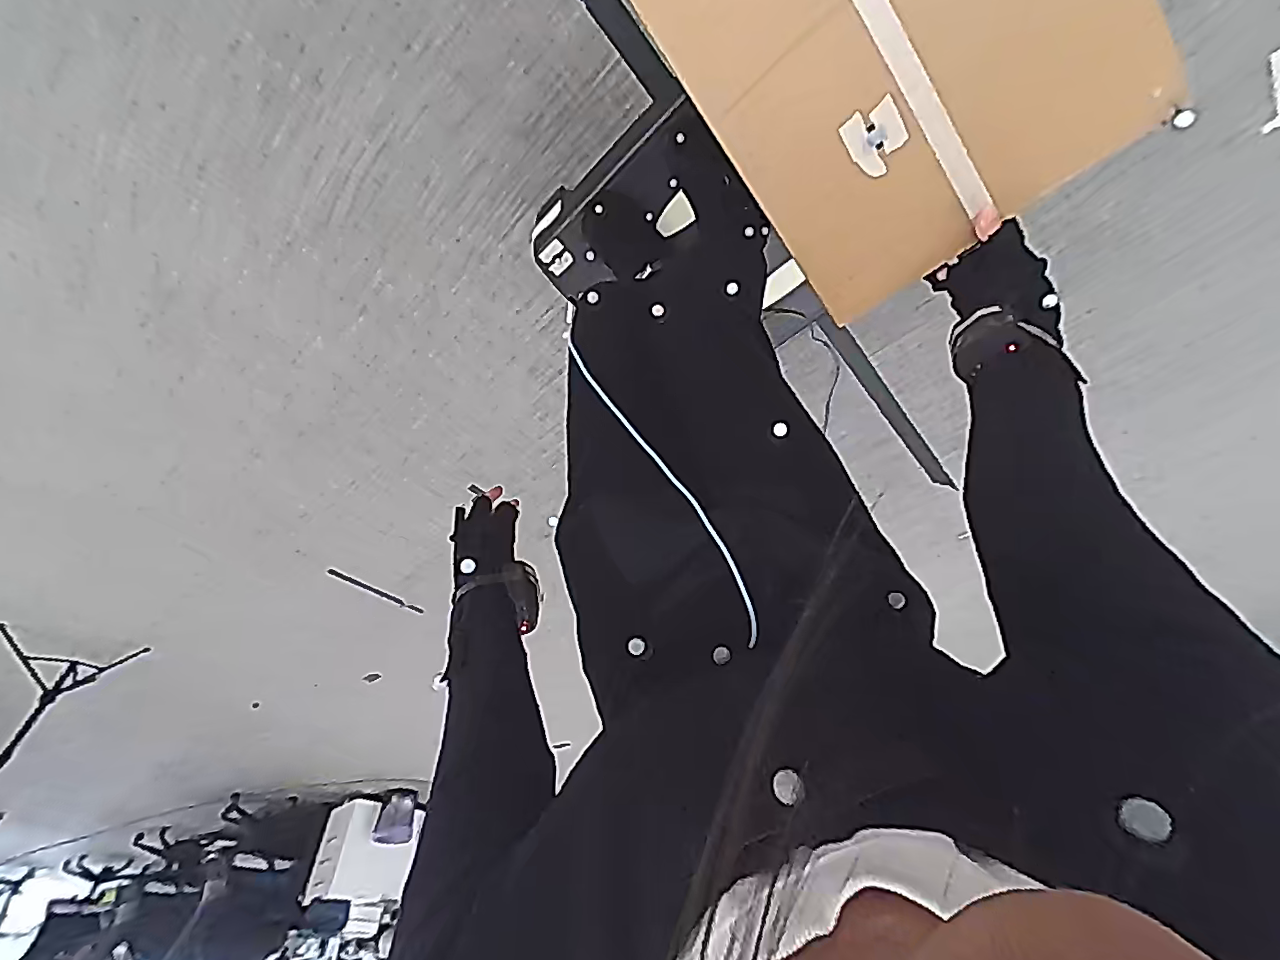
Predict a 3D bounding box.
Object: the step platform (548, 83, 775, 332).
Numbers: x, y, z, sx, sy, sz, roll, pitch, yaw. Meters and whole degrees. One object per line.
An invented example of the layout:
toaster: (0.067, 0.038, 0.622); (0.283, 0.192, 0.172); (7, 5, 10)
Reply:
step platform: (0.142, -0.589, 0.983); (0.684, 0.204, 0.286); (-35, 126, 28)

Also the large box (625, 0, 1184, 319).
large box: (0.244, -0.462, 0.587); (0.320, 0.320, 0.408); (-31, 109, 30)
